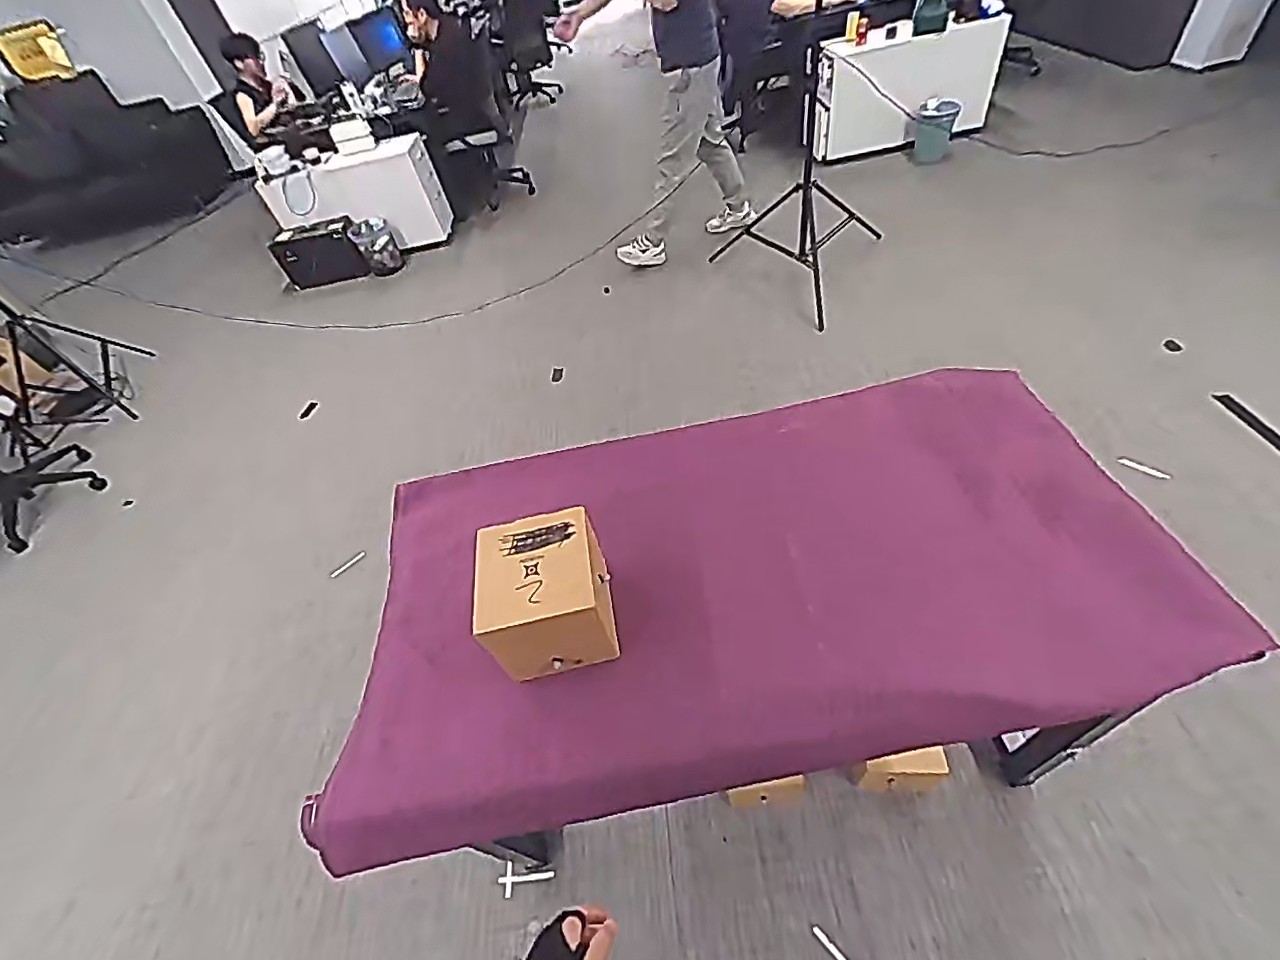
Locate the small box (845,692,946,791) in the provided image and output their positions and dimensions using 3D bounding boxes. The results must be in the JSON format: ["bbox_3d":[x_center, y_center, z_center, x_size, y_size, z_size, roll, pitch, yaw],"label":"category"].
[{"bbox_3d":[0.584,0.611,1.258,0.168,0.176,0.179,-4,48,10],"label":"small box"}]

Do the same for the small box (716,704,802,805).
[{"bbox_3d":[0.280,0.657,1.283,0.168,0.176,0.179,-9,47,4],"label":"small box"}]
